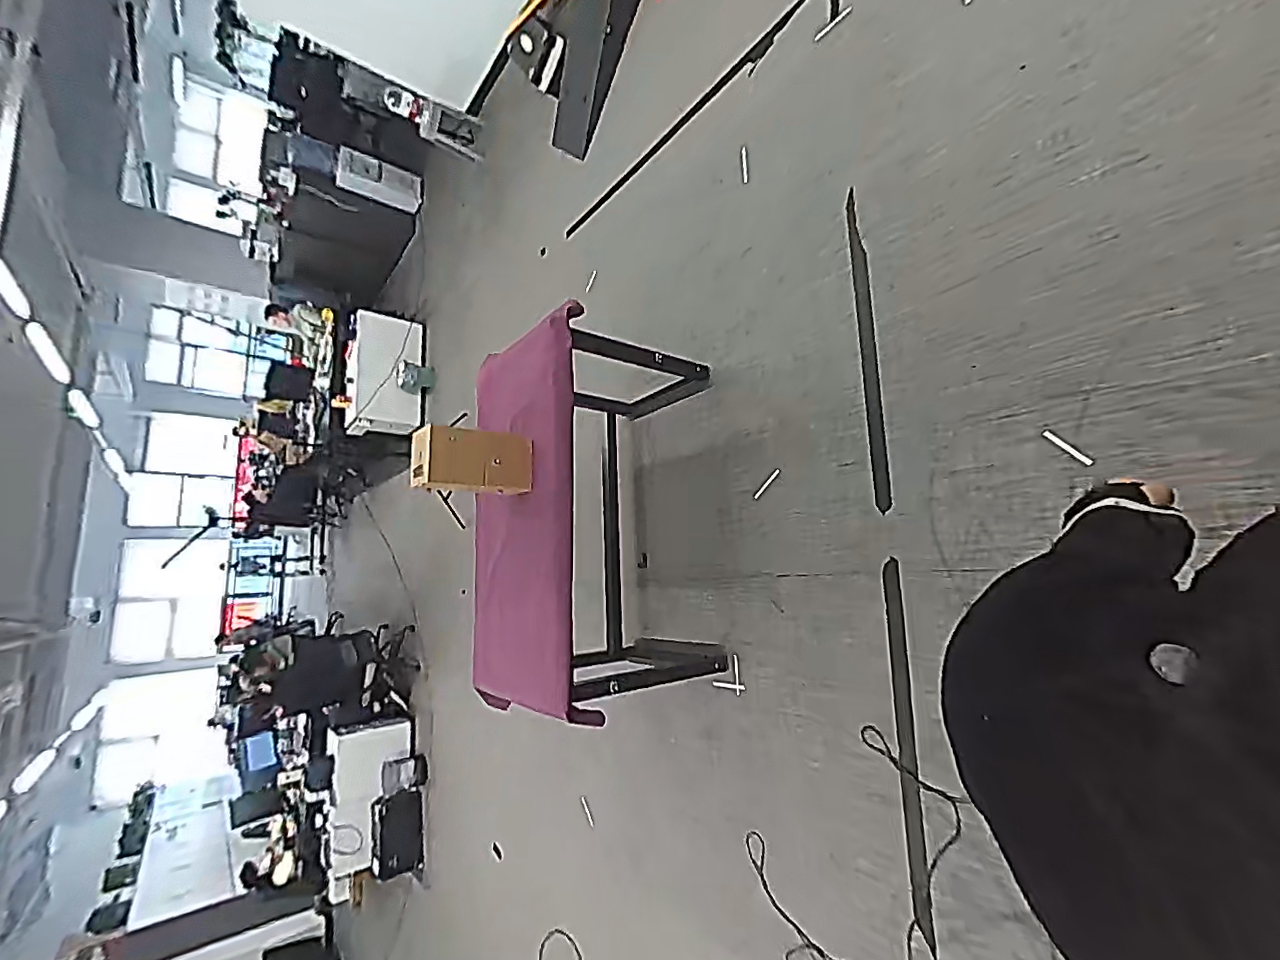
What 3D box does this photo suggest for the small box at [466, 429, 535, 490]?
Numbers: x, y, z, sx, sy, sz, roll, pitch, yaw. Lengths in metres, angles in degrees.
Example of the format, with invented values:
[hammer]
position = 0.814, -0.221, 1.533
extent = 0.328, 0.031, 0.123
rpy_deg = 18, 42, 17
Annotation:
[small box]
position = -0.453, -0.060, 1.763
extent = 0.168, 0.176, 0.179
rpy_deg = -10, 77, 50
